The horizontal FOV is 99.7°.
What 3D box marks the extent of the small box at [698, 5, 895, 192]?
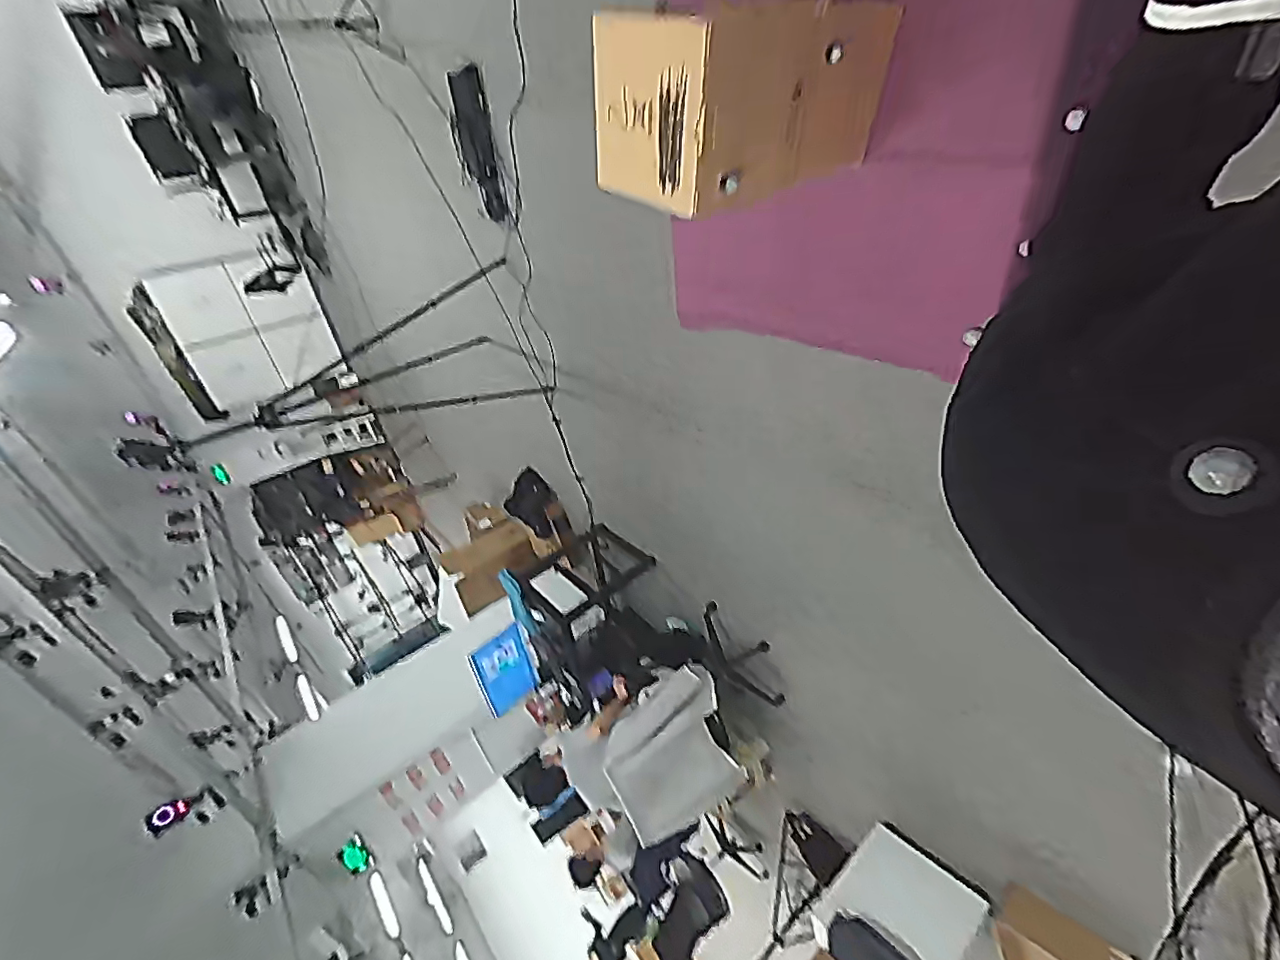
[{"bbox_3d":[0.199,-0.501,0.708,0.168,0.176,0.179,39,142,34],"label":"small box"}]
